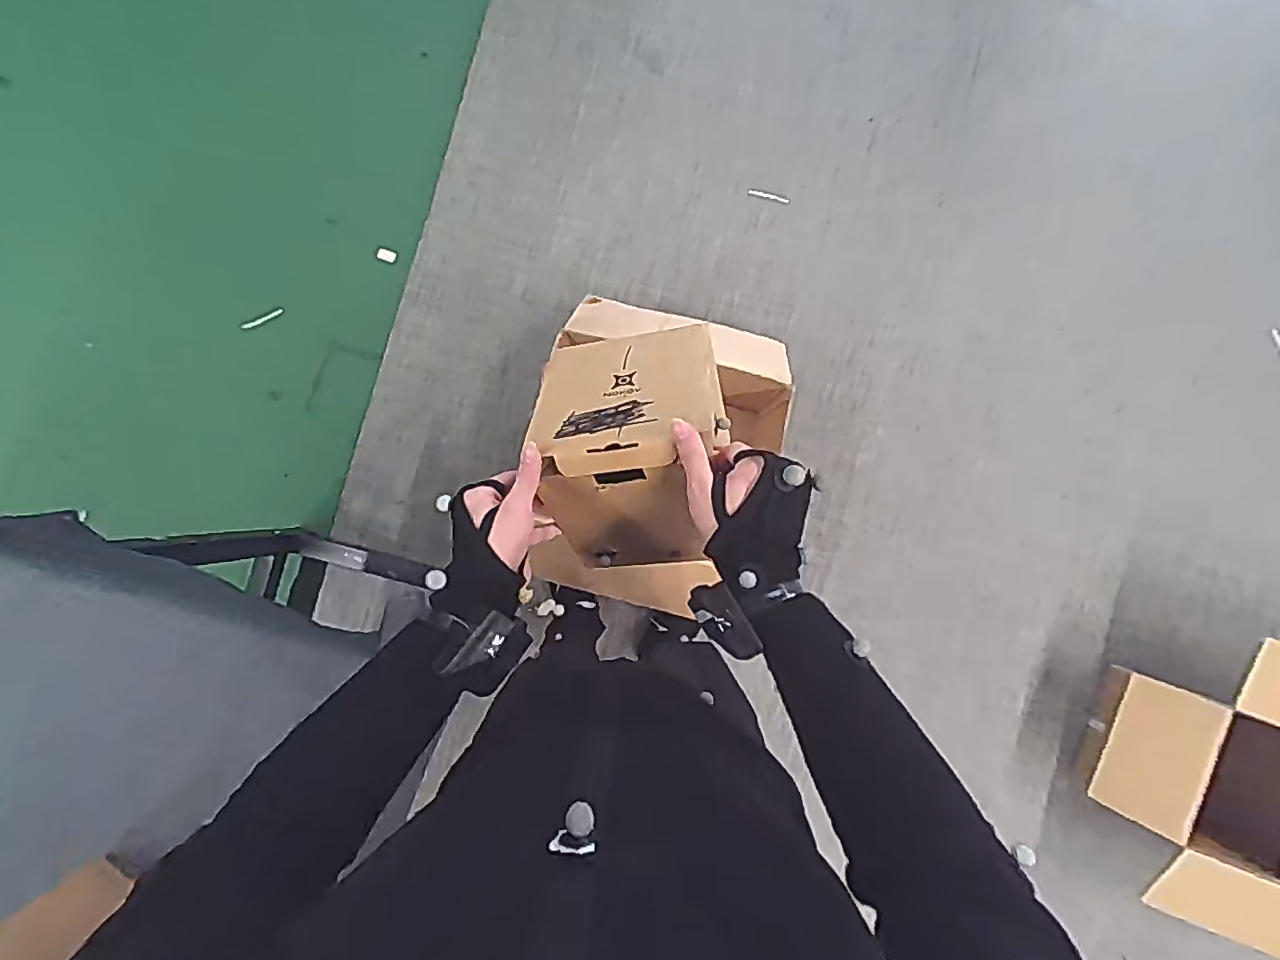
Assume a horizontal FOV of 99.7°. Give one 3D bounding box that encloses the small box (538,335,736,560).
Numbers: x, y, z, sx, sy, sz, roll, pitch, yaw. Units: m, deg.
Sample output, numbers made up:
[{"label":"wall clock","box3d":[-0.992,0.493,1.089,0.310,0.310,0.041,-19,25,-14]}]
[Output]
[{"label":"small box","box3d":[0.010,-0.024,0.579,0.168,0.176,0.179,-5,50,13]}]
